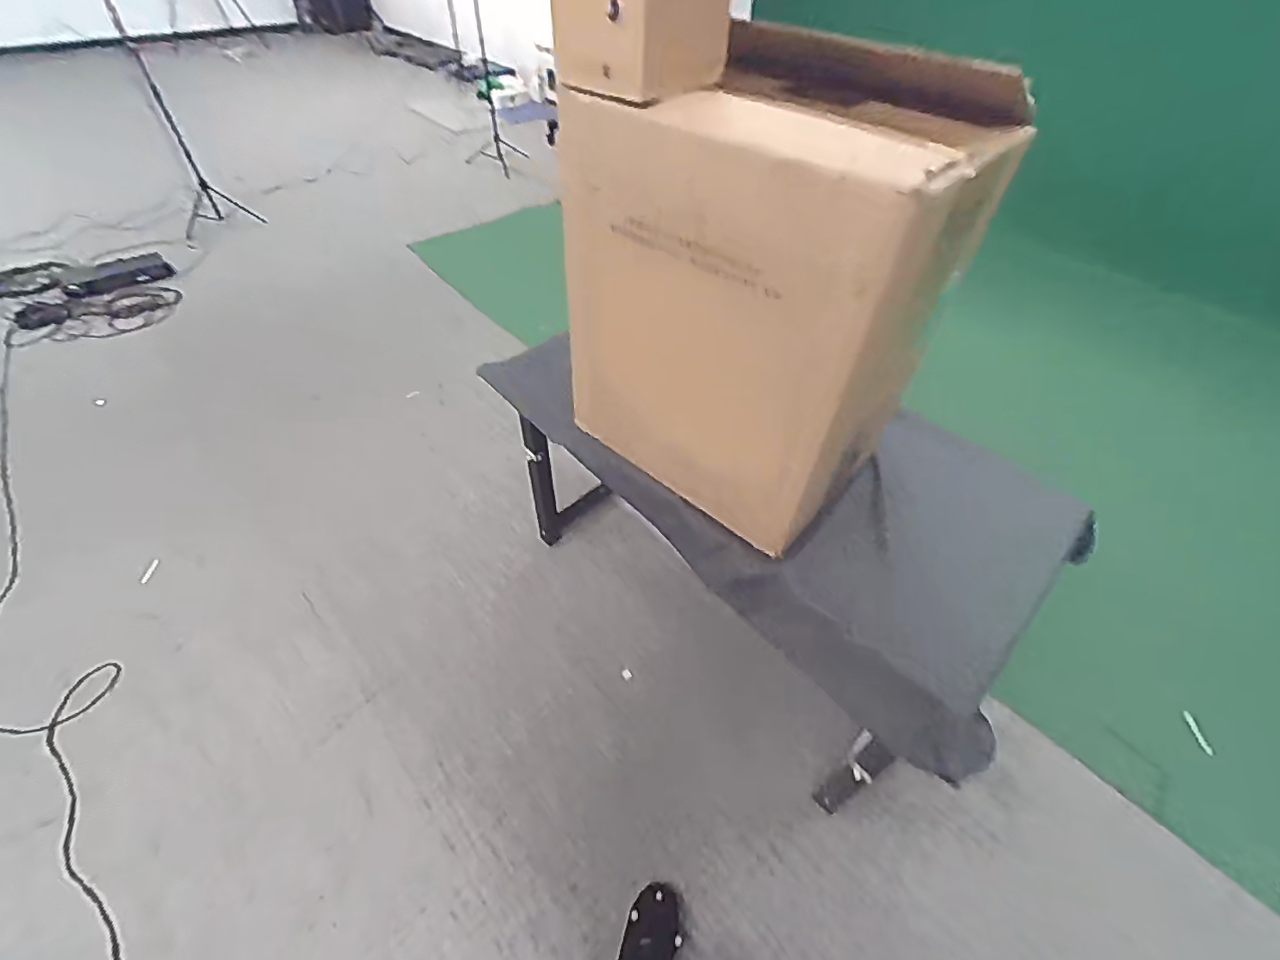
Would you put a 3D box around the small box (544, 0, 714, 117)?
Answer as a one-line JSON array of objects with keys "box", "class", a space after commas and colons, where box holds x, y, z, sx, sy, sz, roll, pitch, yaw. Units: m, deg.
[{"box": [-0.011, -0.604, 0.718, 0.168, 0.176, 0.179, 35, 54, 27], "class": "small box"}]
